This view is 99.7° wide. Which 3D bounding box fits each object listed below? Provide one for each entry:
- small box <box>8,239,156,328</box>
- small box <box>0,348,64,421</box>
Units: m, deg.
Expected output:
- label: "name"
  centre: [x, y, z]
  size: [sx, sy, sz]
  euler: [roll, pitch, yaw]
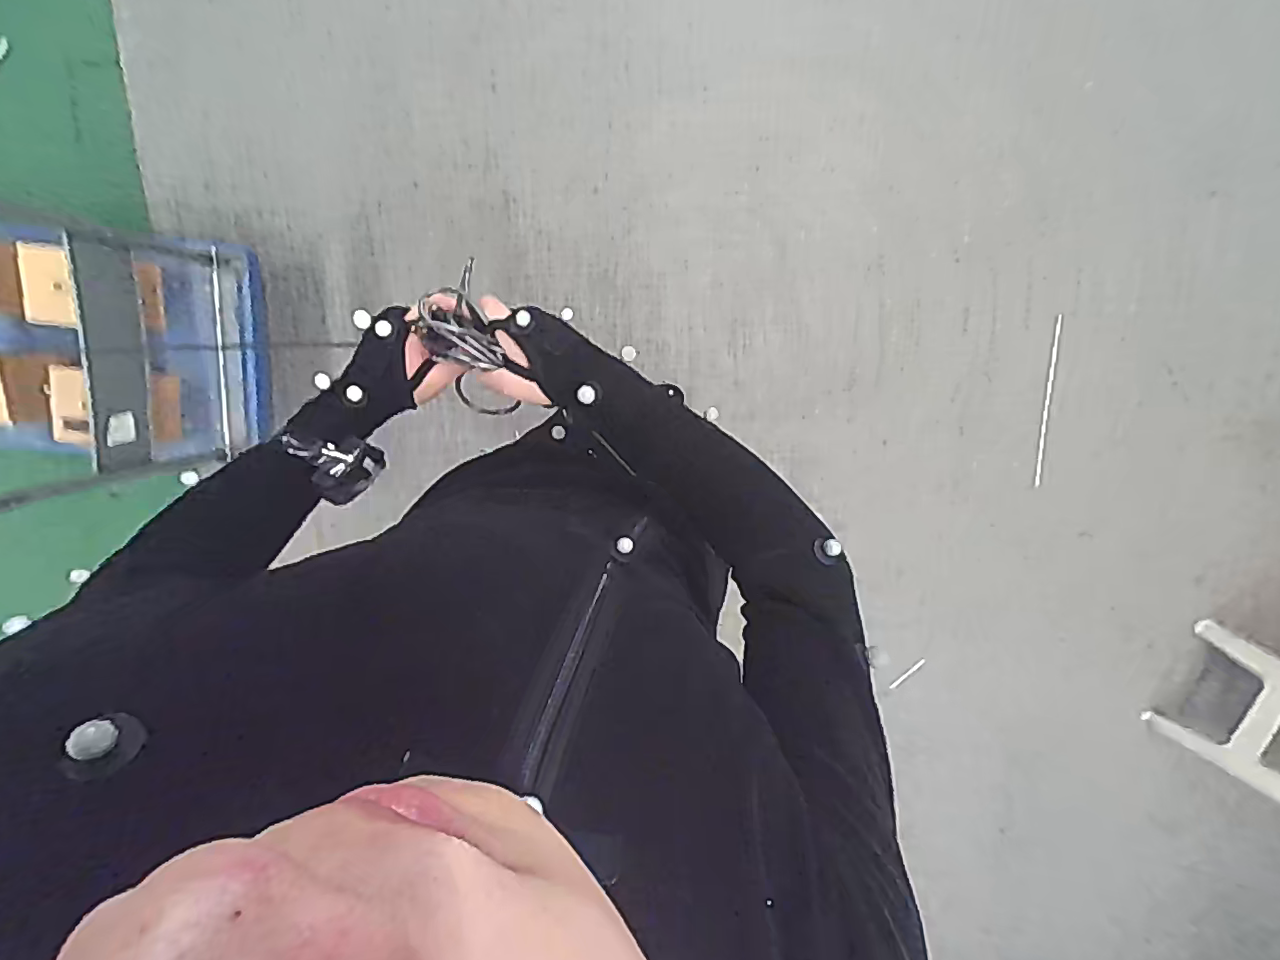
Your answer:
- label: "small box"
  centre: [-1.302, -0.454, 1.273]
  size: [0.179, 0.176, 0.168]
  euler: [7, 102, -2]
- label: "small box"
  centre: [-1.577, -0.237, 1.323]
  size: [0.179, 0.176, 0.168]
  euler: [2, 102, 0]
